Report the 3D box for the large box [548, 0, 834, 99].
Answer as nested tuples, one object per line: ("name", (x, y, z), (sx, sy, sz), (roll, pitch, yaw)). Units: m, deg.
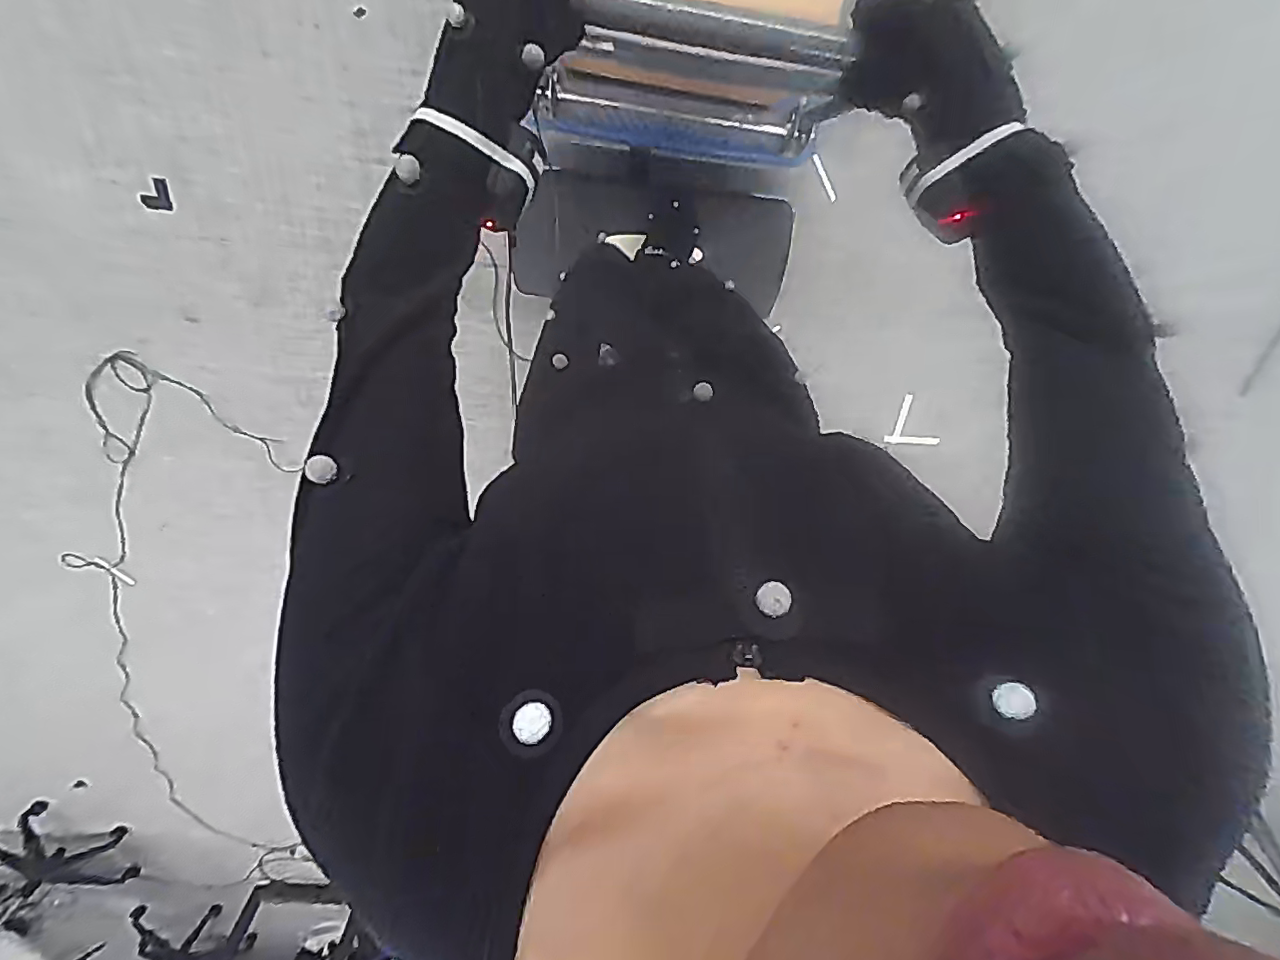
("large box", (0.075, -0.828, 0.831), (0.408, 0.320, 0.320), (5, 115, -6))
